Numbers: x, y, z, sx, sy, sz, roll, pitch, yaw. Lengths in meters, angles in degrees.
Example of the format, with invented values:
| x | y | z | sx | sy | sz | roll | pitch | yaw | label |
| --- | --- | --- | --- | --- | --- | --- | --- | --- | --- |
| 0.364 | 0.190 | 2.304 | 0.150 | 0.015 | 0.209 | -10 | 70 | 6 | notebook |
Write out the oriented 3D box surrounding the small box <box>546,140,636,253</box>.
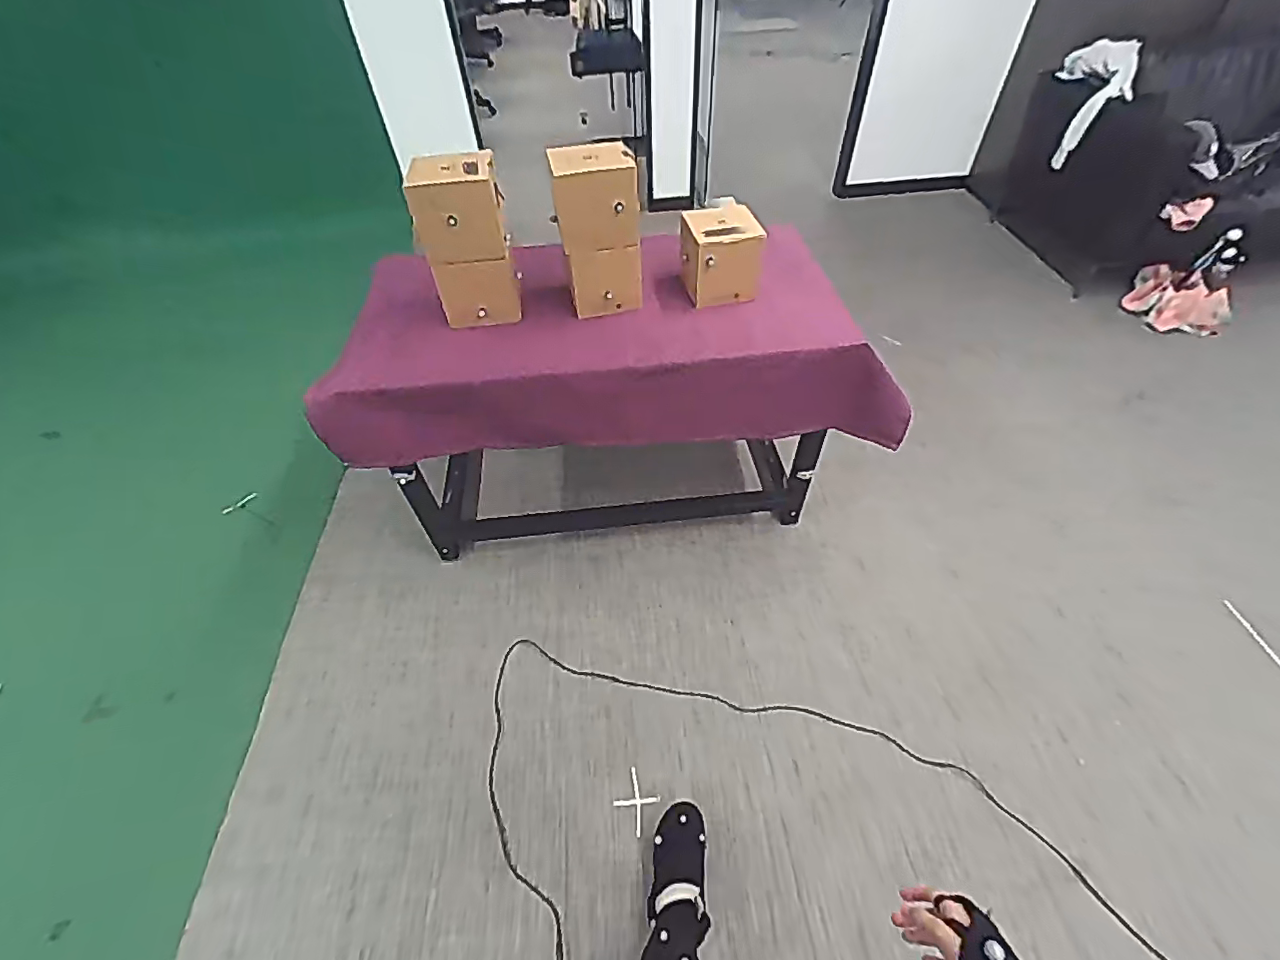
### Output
| x | y | z | sx | sy | sz | roll | pitch | yaw | label |
| --- | --- | --- | --- | --- | --- | --- | --- | --- | --- |
| -0.106 | -0.633 | 1.212 | 0.179 | 0.176 | 0.168 | -10 | 50 | -5 | small box |

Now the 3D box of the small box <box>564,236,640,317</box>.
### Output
| x | y | z | sx | sy | sz | roll | pitch | yaw | label |
| --- | --- | --- | --- | --- | --- | --- | --- | --- | --- |
| -0.098 | -0.531 | 1.340 | 0.168 | 0.176 | 0.179 | -12 | 51 | -7 | small box |

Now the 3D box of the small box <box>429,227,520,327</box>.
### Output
| x | y | z | sx | sy | sz | roll | pitch | yaw | label |
| --- | --- | --- | --- | --- | --- | --- | --- | --- | --- |
| -0.394 | -0.494 | 1.321 | 0.179 | 0.176 | 0.168 | -7 | 50 | -4 | small box |

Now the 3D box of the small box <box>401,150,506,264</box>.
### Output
| x | y | z | sx | sy | sz | roll | pitch | yaw | label |
| --- | --- | --- | --- | --- | --- | --- | --- | --- | --- |
| -0.399 | -0.600 | 1.195 | 0.179 | 0.176 | 0.168 | -8 | 50 | -3 | small box |
